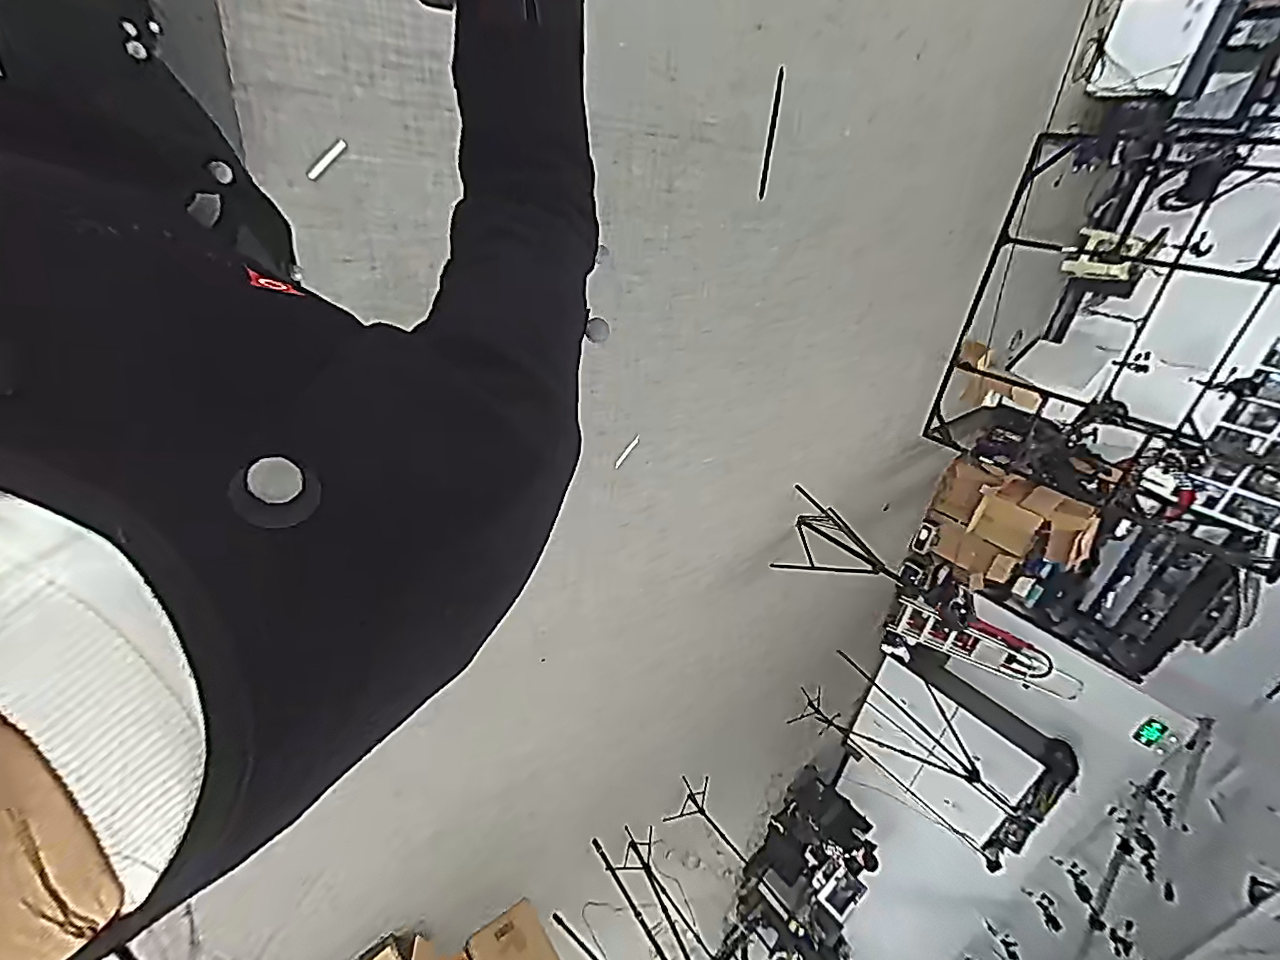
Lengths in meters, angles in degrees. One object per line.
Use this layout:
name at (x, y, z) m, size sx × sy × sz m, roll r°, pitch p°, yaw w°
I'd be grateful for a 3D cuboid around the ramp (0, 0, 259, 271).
ramp at (-0.893, -0.783, 0.736) m, size 0.509 × 0.206 × 0.991 m, roll -19°, pitch 129°, yaw -37°
